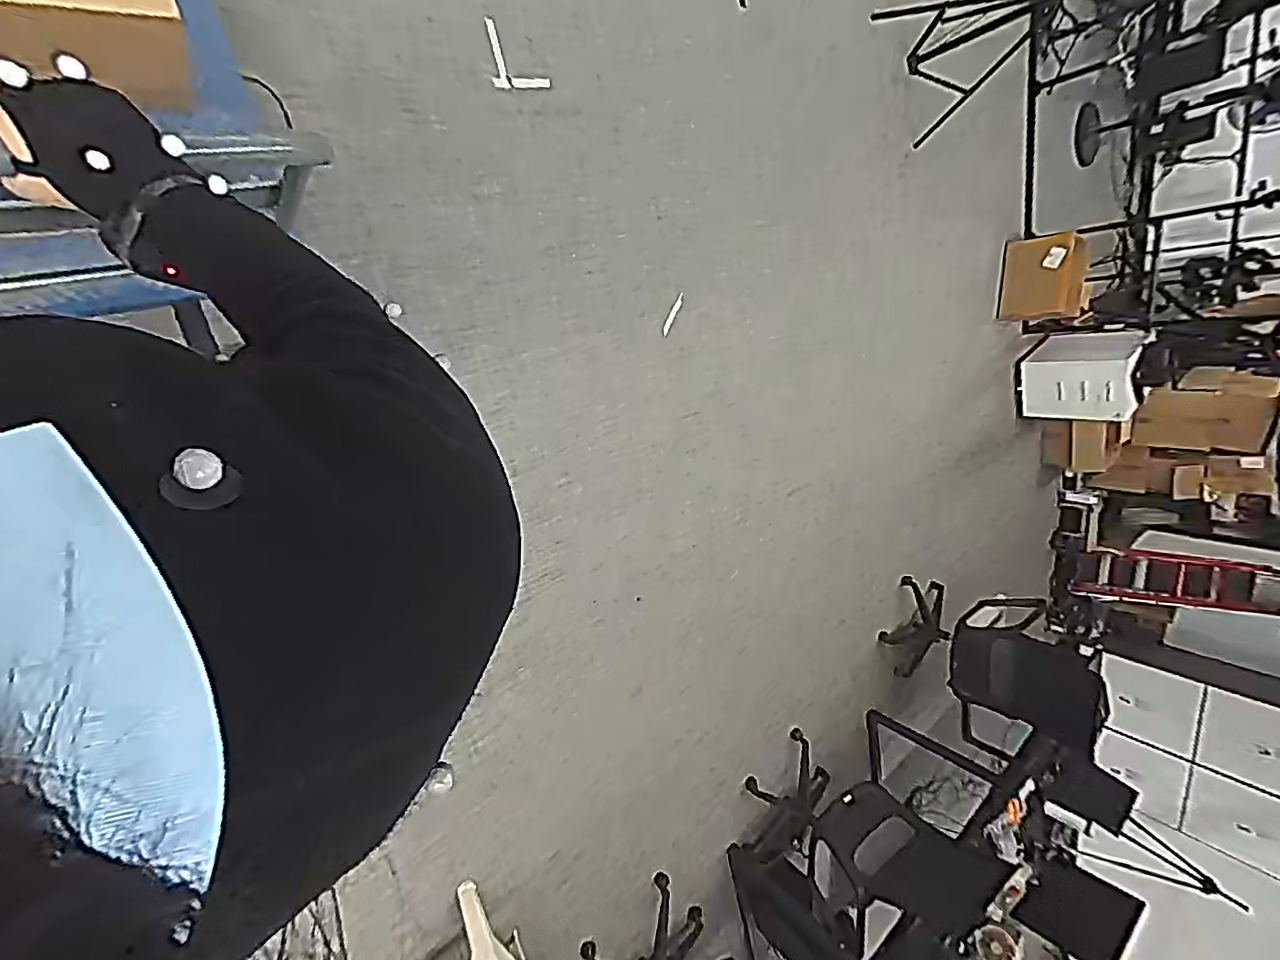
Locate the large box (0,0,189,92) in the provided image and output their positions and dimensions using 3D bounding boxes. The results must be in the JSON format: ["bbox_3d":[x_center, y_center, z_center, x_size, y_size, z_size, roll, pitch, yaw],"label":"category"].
[{"bbox_3d":[-0.888,-0.731,0.684,0.408,0.320,0.320,-22,111,-31],"label":"large box"}]
